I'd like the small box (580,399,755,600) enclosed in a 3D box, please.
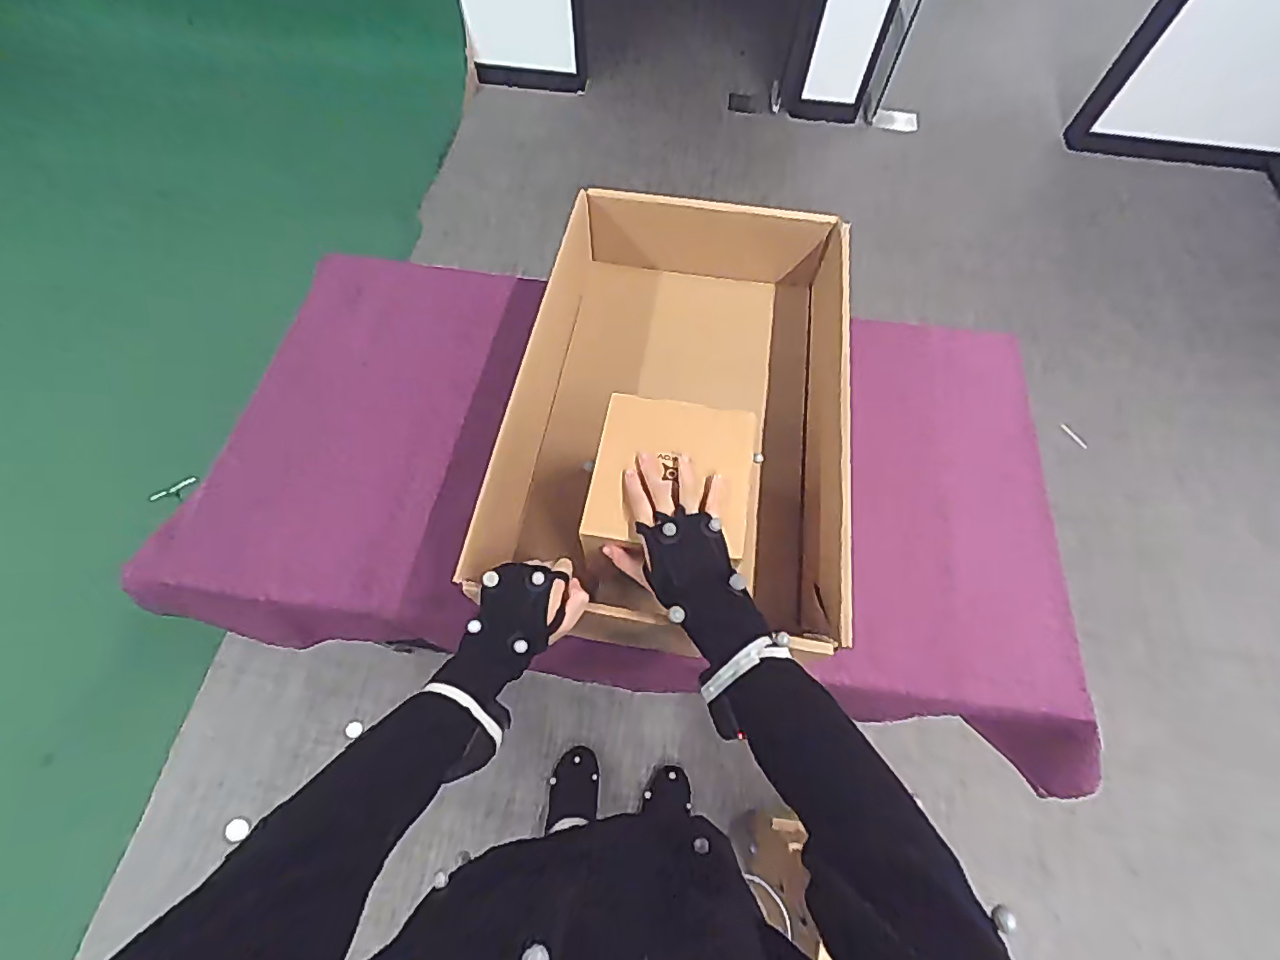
[{"bbox_3d":[0.035,0.032,0.642,0.168,0.176,0.179,9,63,4],"label":"small box"}]

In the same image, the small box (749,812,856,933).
[{"bbox_3d":[0.335,0.813,1.137,0.179,0.176,0.168,7,64,3],"label":"small box"}]
